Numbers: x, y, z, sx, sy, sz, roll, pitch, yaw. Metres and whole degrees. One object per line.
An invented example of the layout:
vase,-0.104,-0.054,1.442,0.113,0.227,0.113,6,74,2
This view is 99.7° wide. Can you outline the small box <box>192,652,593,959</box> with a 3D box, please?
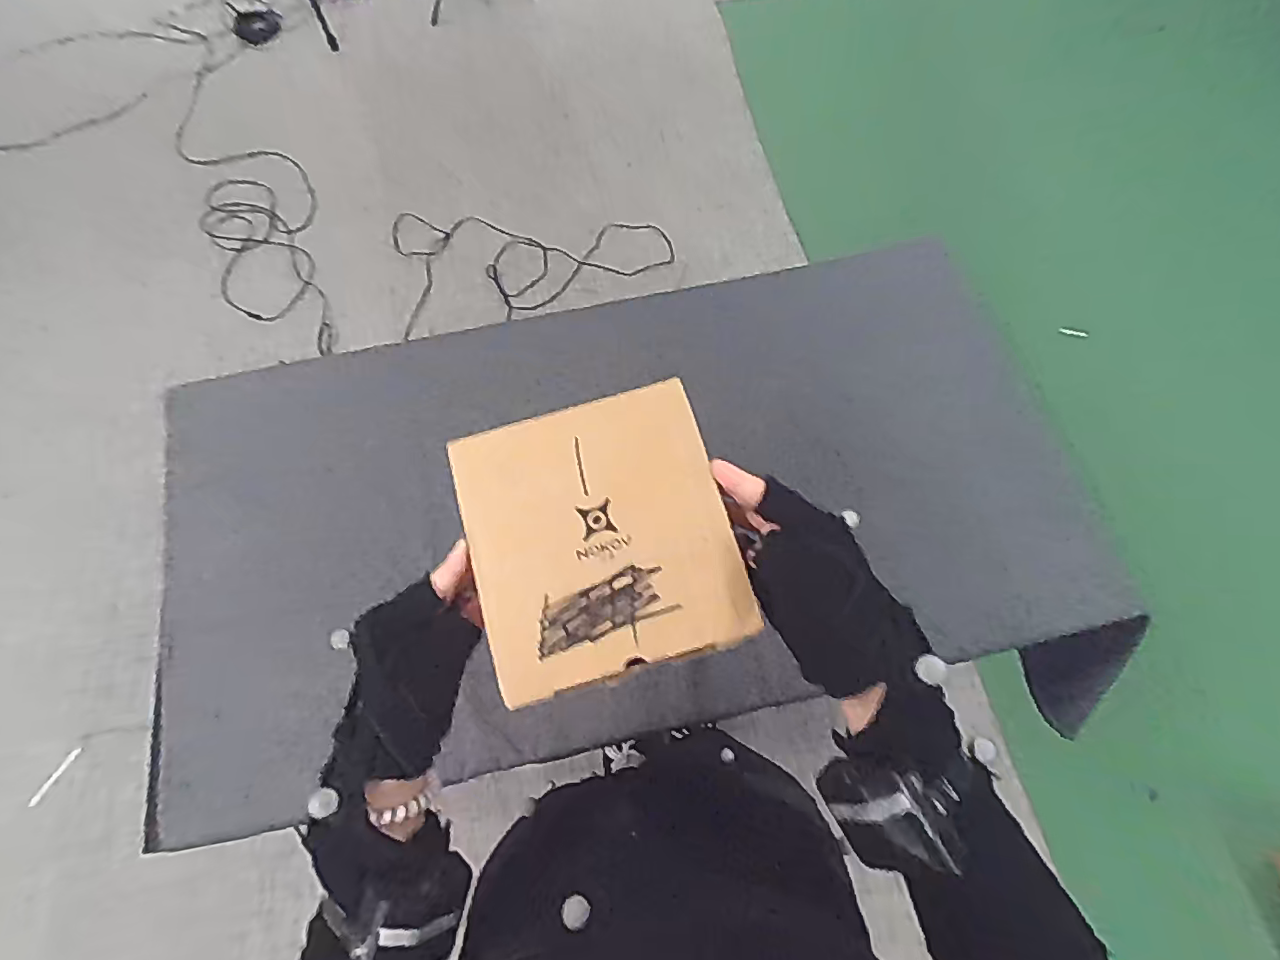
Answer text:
small box,-0.160,0.239,0.381,0.176,0.168,0.179,-16,48,32
